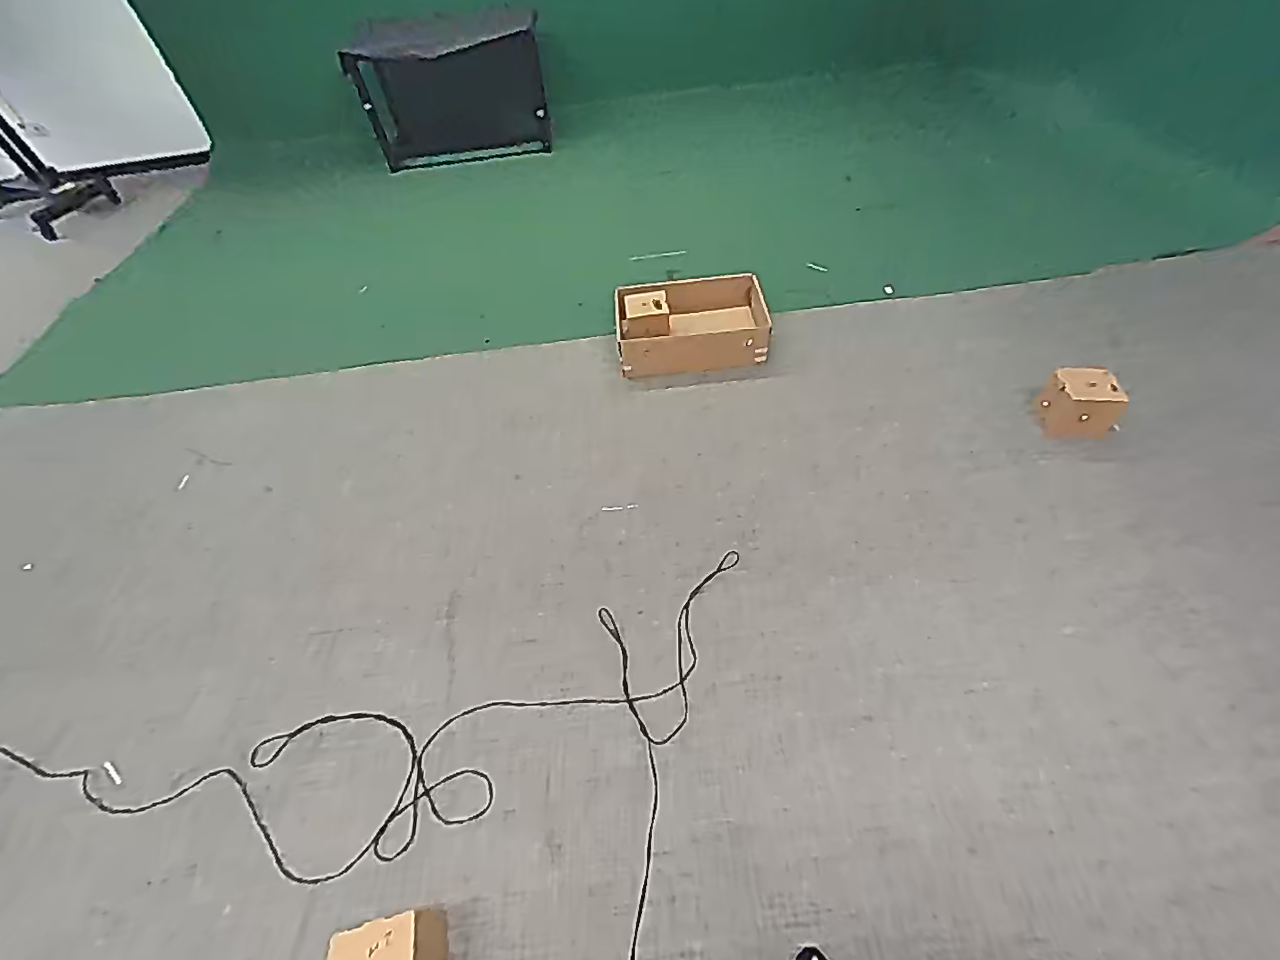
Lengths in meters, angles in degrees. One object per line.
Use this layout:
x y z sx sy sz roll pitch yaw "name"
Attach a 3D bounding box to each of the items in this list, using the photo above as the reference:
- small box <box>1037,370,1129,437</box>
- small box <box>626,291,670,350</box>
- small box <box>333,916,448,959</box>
1.504 -0.260 1.856 0.179 0.176 0.168 2 51 9 "small box"
0.036 -0.671 2.288 0.179 0.176 0.168 -7 51 2 "small box"
-0.484 0.984 1.058 0.168 0.176 0.179 -14 50 -5 "small box"
